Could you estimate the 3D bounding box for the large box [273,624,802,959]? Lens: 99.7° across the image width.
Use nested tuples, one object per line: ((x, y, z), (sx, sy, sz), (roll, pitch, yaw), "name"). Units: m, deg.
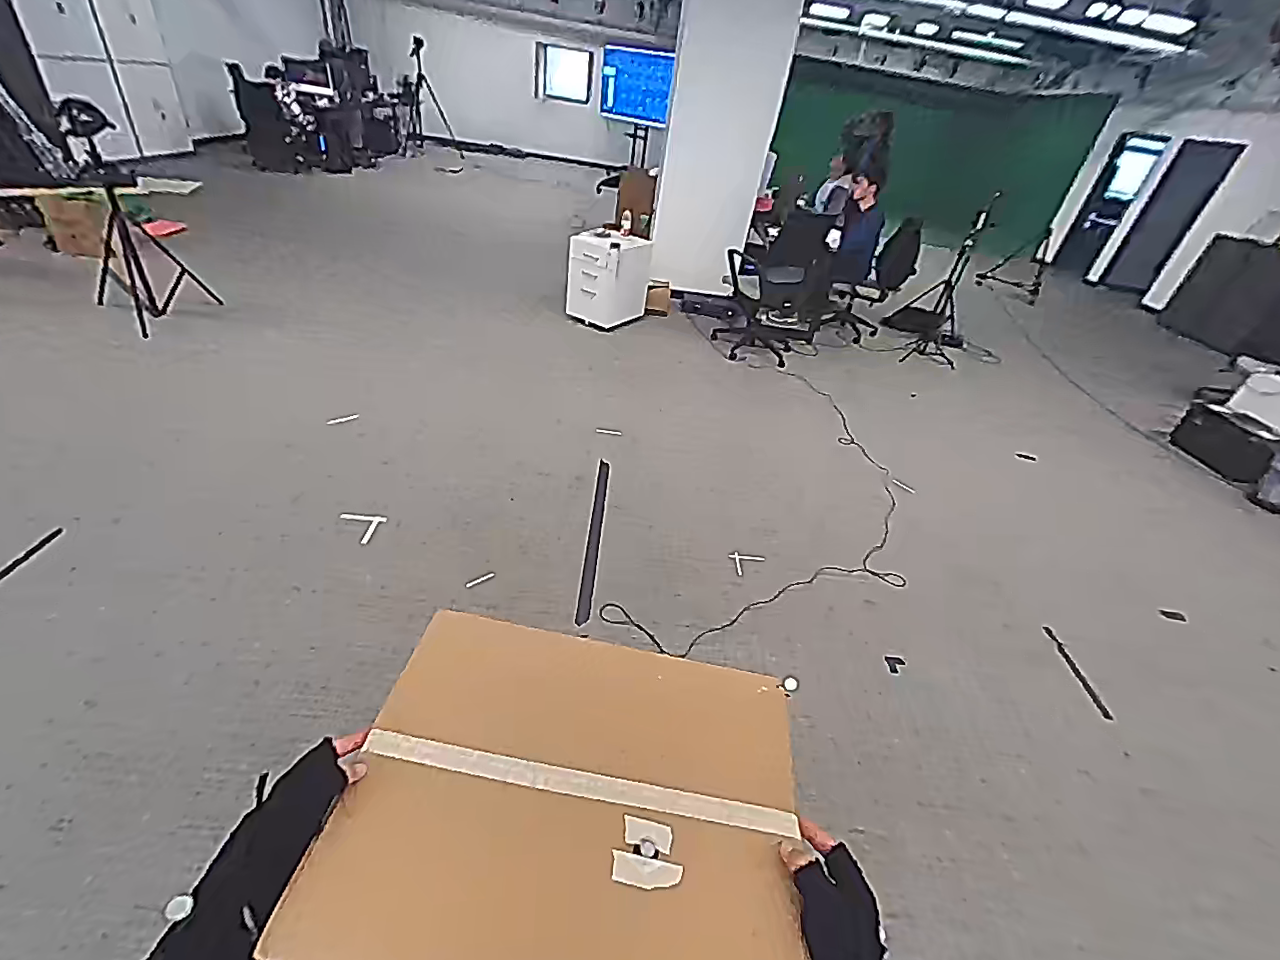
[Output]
((-0.077, 0.408, 0.592), (0.408, 0.320, 0.320), (12, 38, 1), "large box")
